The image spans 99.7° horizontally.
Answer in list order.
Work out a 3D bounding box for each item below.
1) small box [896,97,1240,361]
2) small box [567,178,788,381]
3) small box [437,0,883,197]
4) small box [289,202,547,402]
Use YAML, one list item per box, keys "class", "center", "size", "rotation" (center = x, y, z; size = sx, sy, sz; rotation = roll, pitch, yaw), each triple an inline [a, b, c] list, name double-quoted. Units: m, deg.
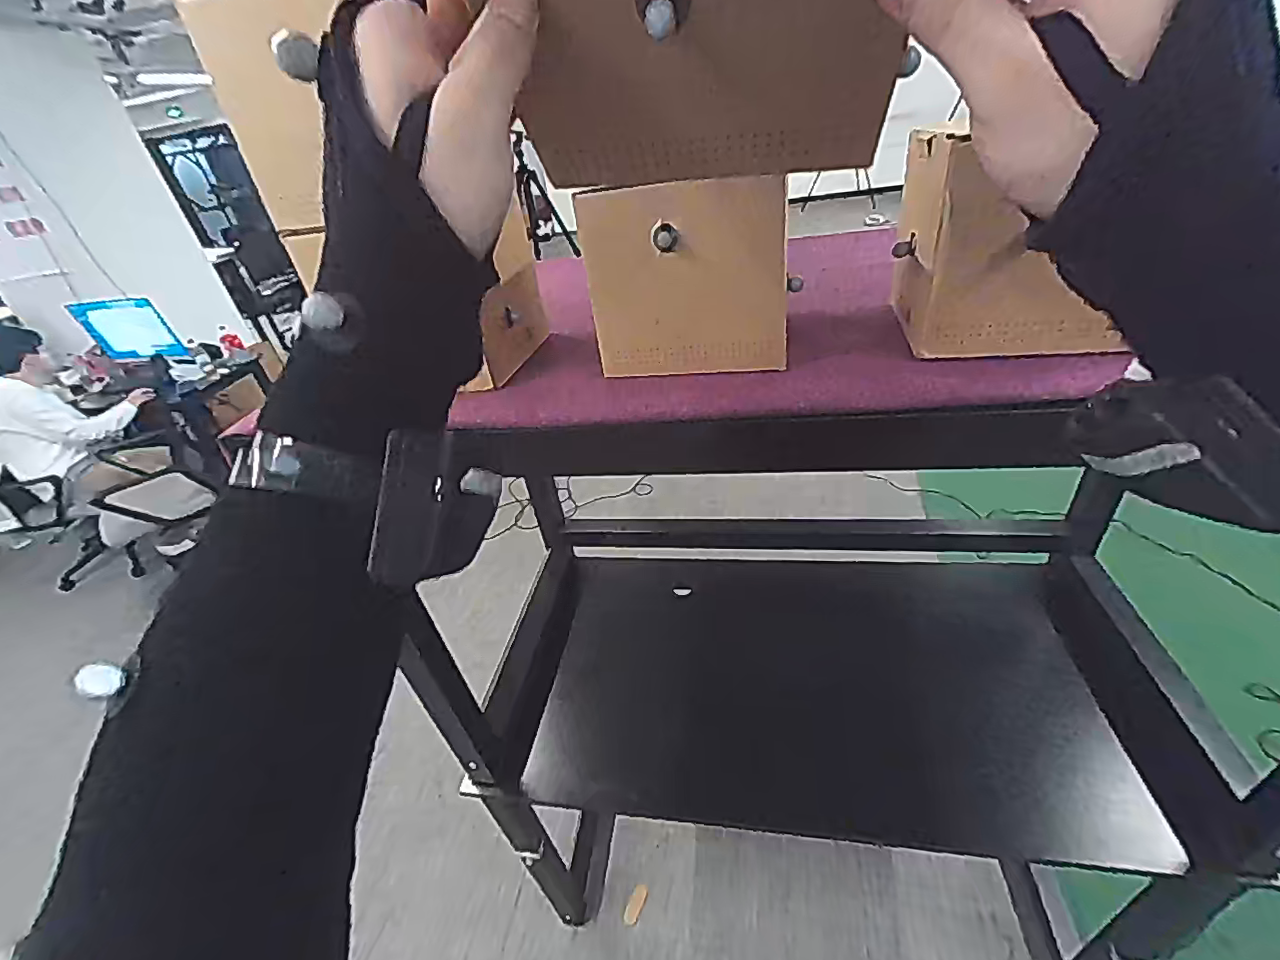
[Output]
- class: "small box"
  center: [0.327, -0.211, 0.467]
  size: [0.179, 0.176, 0.168]
  rotation: [-1, 35, 16]
- class: "small box"
  center: [0.052, -0.206, 0.534]
  size: [0.179, 0.176, 0.168]
  rotation: [-1, 35, 16]
- class: "small box"
  center: [0.017, -0.256, 0.239]
  size: [0.179, 0.176, 0.168]
  rotation: [2, 77, 14]
- class: "small box"
  center: [-0.224, -0.193, 0.597]
  size: [0.179, 0.176, 0.168]
  rotation: [0, 35, 14]
